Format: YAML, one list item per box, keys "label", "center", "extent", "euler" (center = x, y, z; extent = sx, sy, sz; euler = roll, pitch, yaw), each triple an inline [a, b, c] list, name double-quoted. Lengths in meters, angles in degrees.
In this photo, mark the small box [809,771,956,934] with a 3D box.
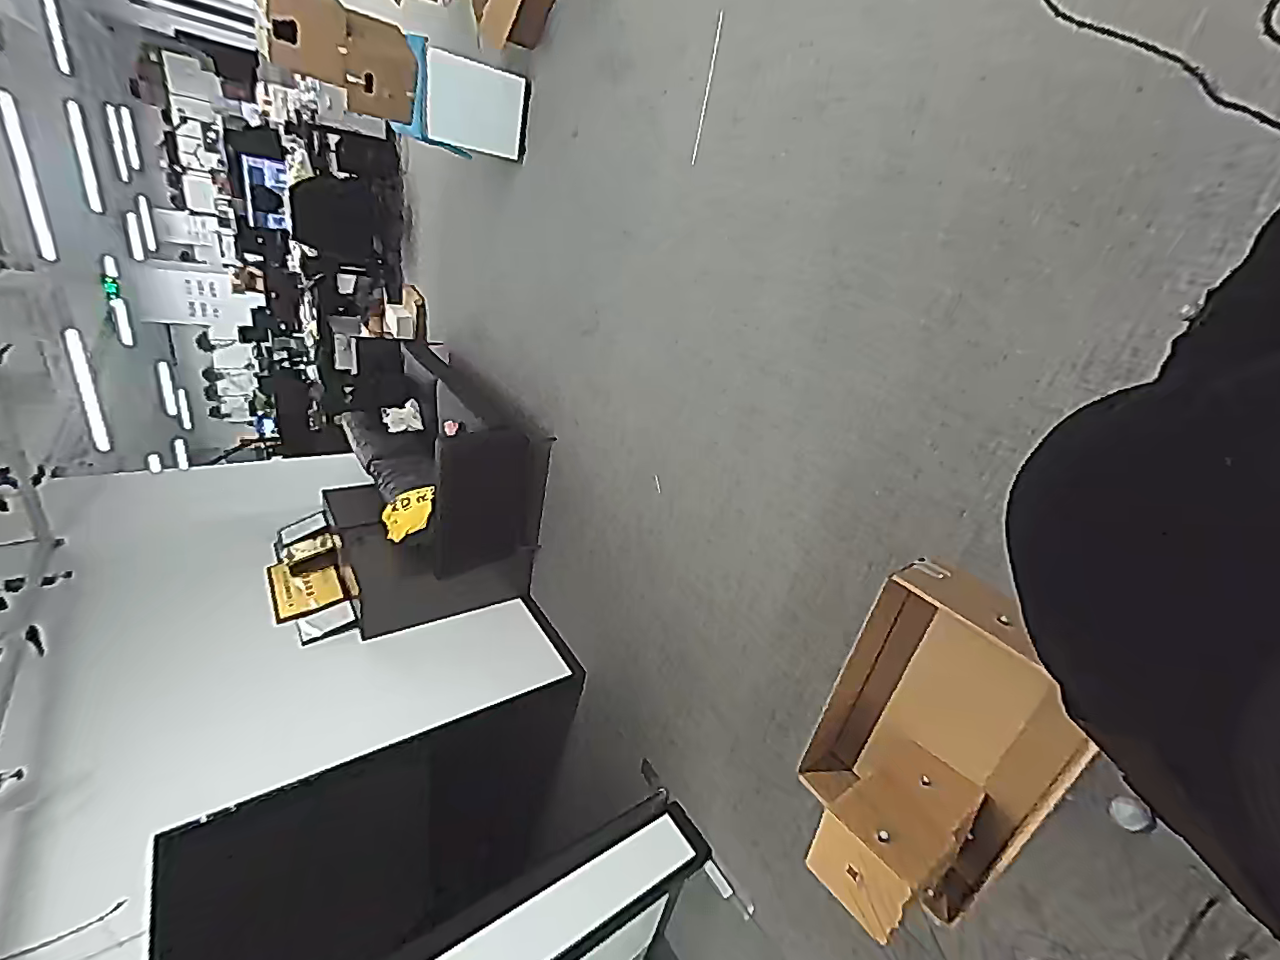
- label: "small box"
  center: [0.466, 0.699, 1.045]
  extent: [0.179, 0.176, 0.168]
  euler: [32, 121, 45]
